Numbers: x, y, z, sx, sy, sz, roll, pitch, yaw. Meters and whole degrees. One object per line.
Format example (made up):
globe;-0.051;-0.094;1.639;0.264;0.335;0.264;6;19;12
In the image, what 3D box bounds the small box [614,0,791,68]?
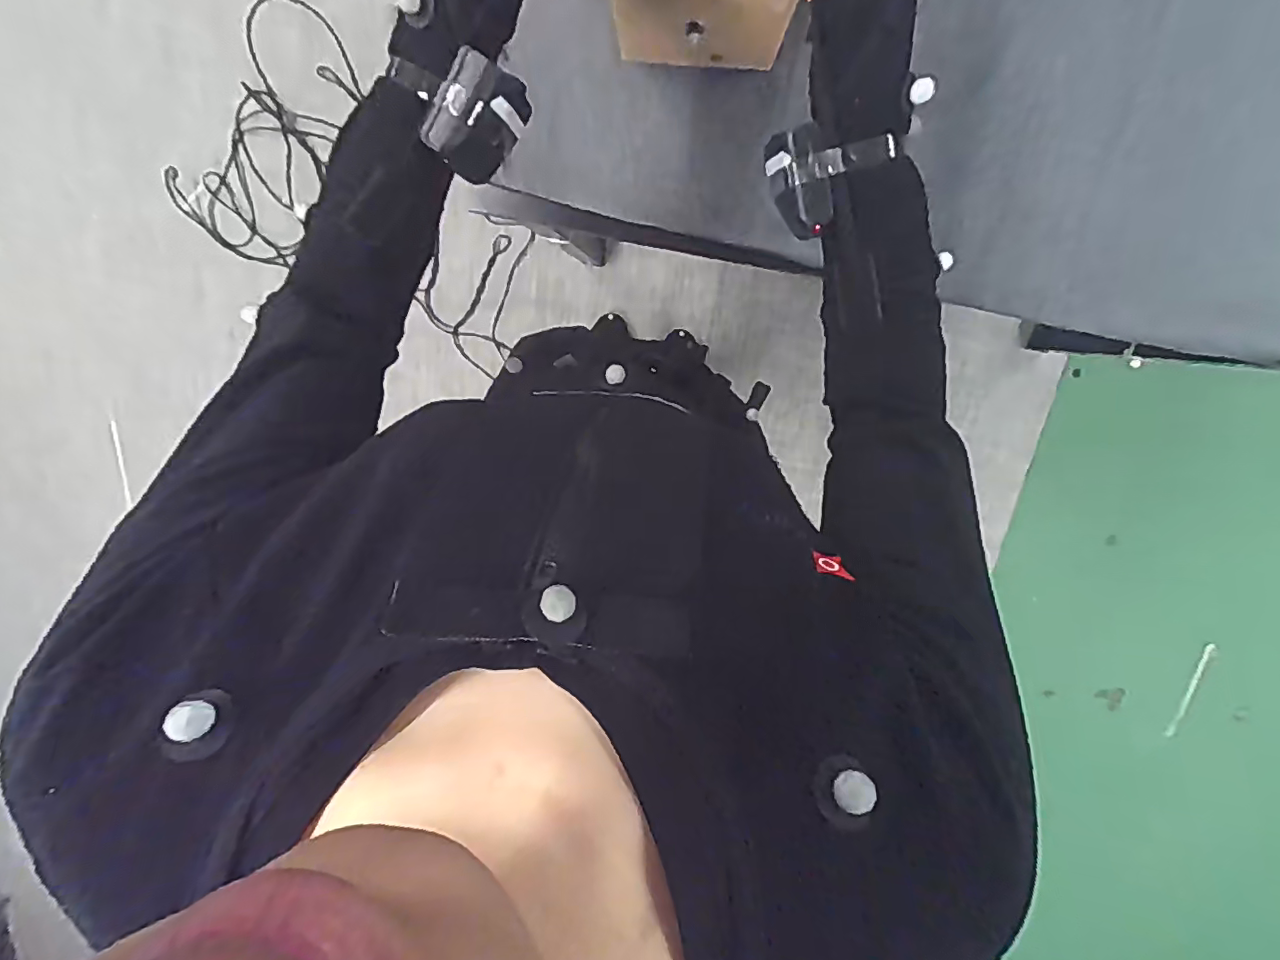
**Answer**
small box;0.064;-0.516;0.494;0.168;0.176;0.179;5;105;1
